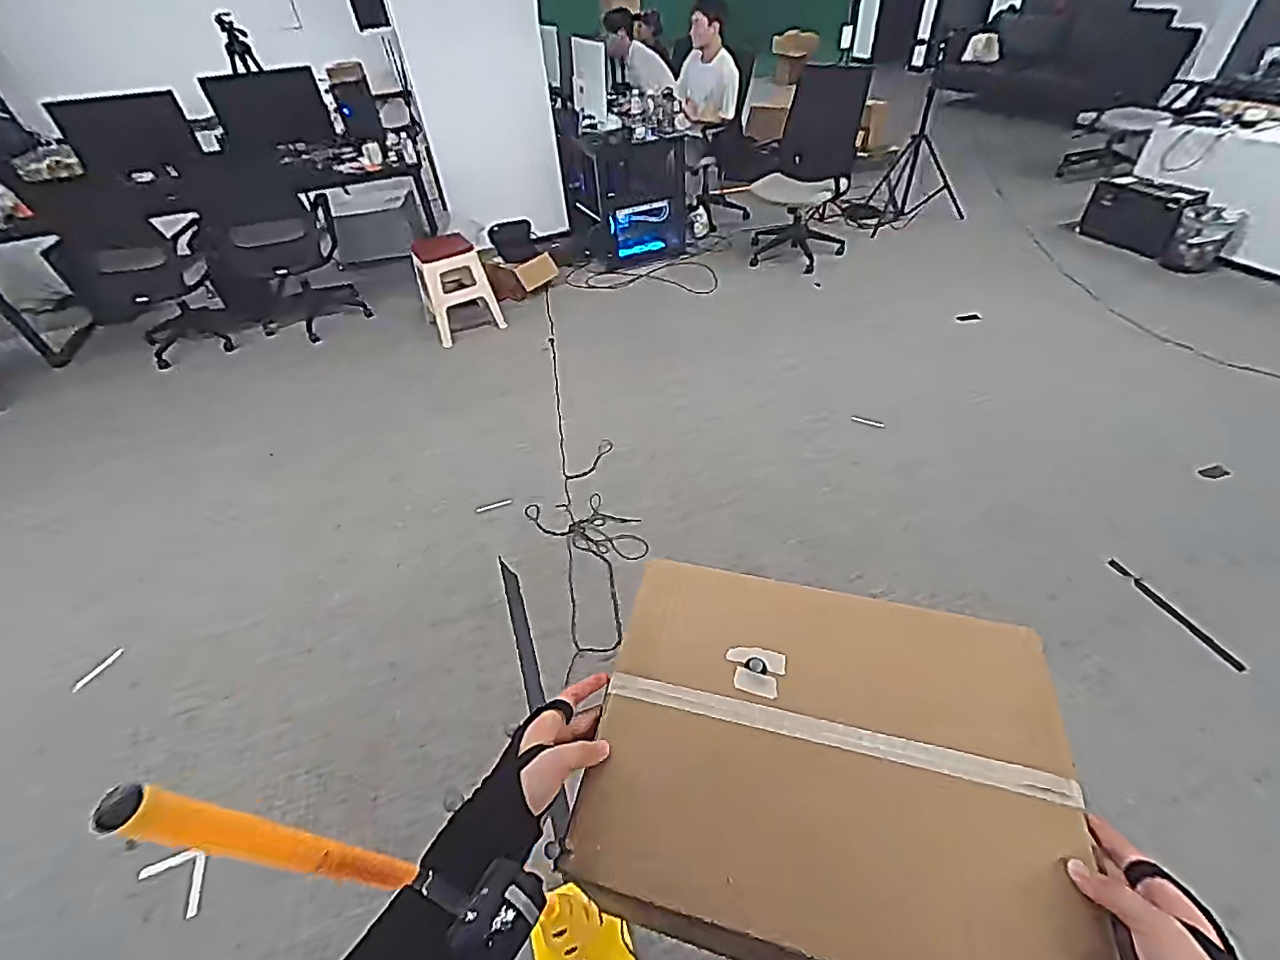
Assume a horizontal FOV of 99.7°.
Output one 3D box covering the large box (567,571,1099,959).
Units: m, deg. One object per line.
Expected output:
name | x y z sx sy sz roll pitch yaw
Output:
large box | 0.176 0.342 0.612 0.408 0.320 0.320 8 46 12
